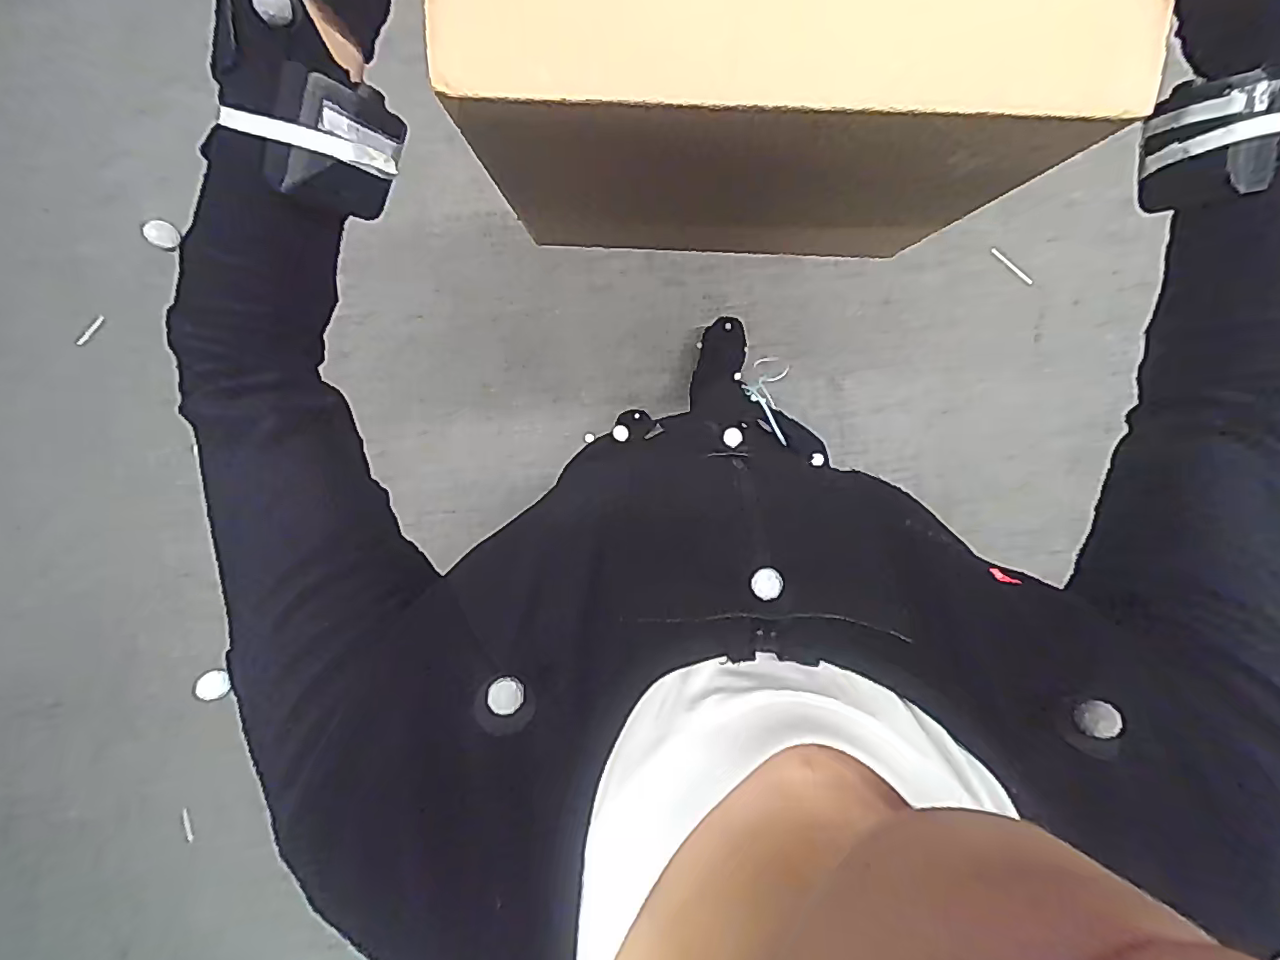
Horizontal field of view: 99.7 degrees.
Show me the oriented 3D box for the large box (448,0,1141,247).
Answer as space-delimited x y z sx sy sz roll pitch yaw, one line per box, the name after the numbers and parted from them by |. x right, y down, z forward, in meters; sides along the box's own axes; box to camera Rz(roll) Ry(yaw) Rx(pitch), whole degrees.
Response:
0.087 -0.392 0.441 0.408 0.320 0.320 1 99 0 | large box
